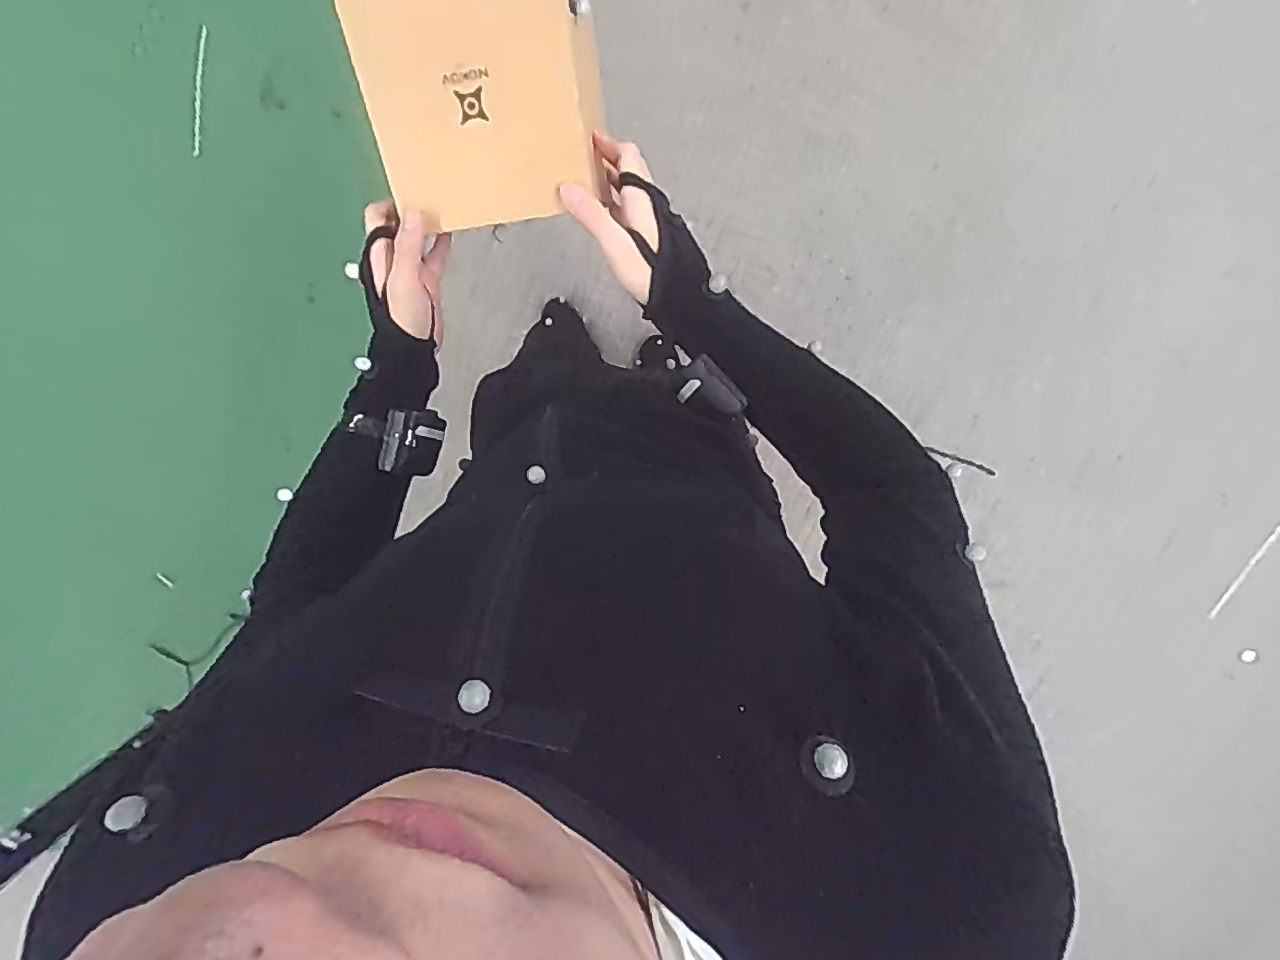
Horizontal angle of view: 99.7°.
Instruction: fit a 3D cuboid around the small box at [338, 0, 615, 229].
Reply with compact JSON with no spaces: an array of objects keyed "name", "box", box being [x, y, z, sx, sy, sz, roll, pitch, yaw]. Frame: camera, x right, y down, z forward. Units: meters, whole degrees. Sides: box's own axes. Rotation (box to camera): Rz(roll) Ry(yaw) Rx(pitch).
[{"name":"small box","box":[-0.120,-0.327,0.471,0.168,0.176,0.179,-5,116,6]}]
